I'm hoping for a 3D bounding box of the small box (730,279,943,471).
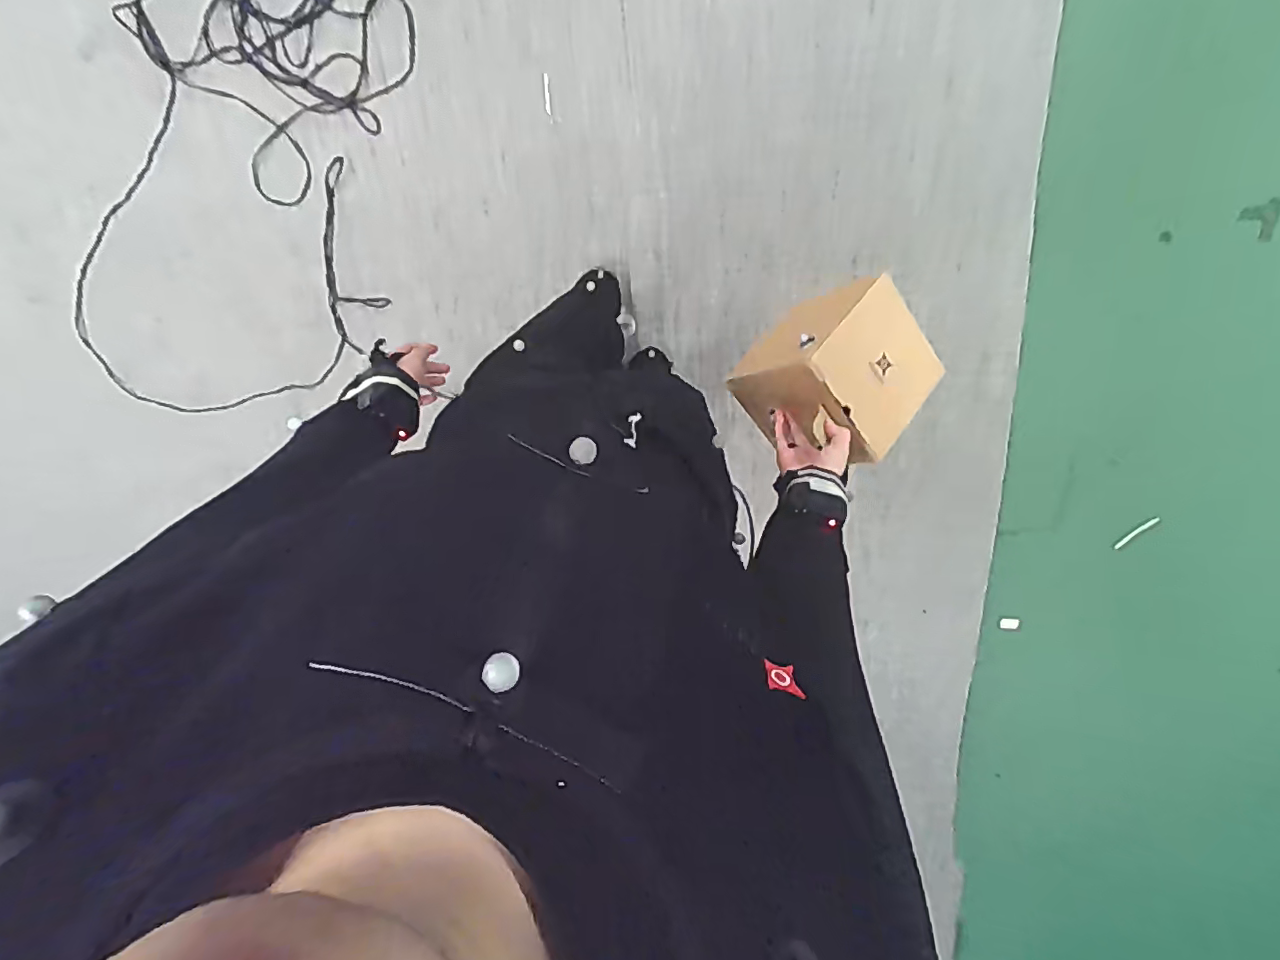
[{"bbox_3d":[0.256,-0.129,0.724,0.179,0.176,0.168,-48,108,-18],"label":"small box"}]
